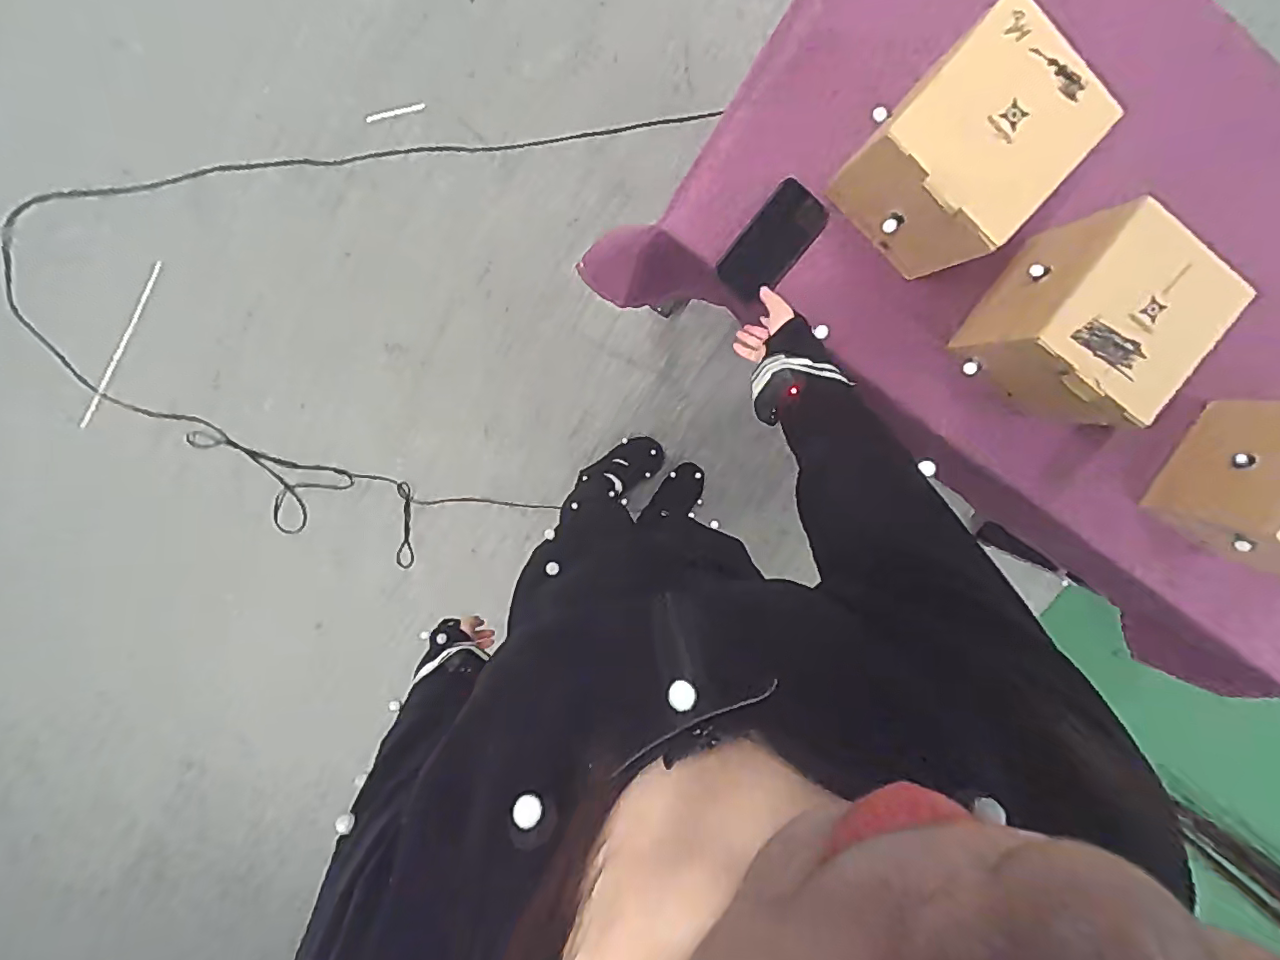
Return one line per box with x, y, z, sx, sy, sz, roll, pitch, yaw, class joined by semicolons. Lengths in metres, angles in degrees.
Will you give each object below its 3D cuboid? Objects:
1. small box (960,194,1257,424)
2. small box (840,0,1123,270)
0.523;-0.186;0.639;0.168;0.176;0.179;34;97;-8;small box
0.351;-0.363;0.601;0.168;0.176;0.179;41;97;-8;small box
